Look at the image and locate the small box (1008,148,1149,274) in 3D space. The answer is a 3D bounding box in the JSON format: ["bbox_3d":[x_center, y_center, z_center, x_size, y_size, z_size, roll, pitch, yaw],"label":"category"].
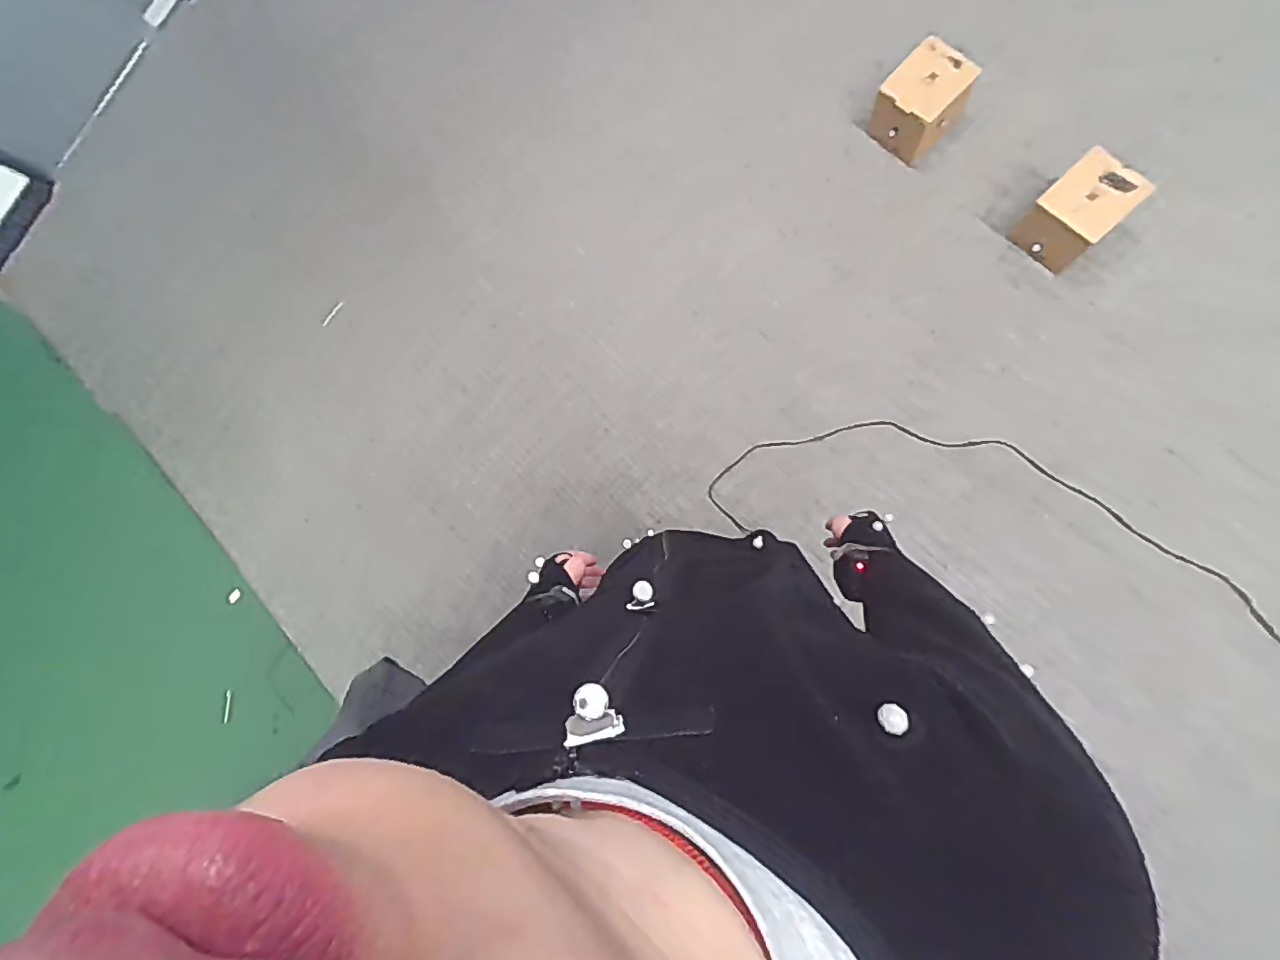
[{"bbox_3d":[1.055,-0.647,1.321,0.179,0.176,0.168,-45,77,8],"label":"small box"}]

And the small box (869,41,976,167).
[{"bbox_3d":[0.731,-0.980,1.427,0.179,0.176,0.168,-45,78,7],"label":"small box"}]
